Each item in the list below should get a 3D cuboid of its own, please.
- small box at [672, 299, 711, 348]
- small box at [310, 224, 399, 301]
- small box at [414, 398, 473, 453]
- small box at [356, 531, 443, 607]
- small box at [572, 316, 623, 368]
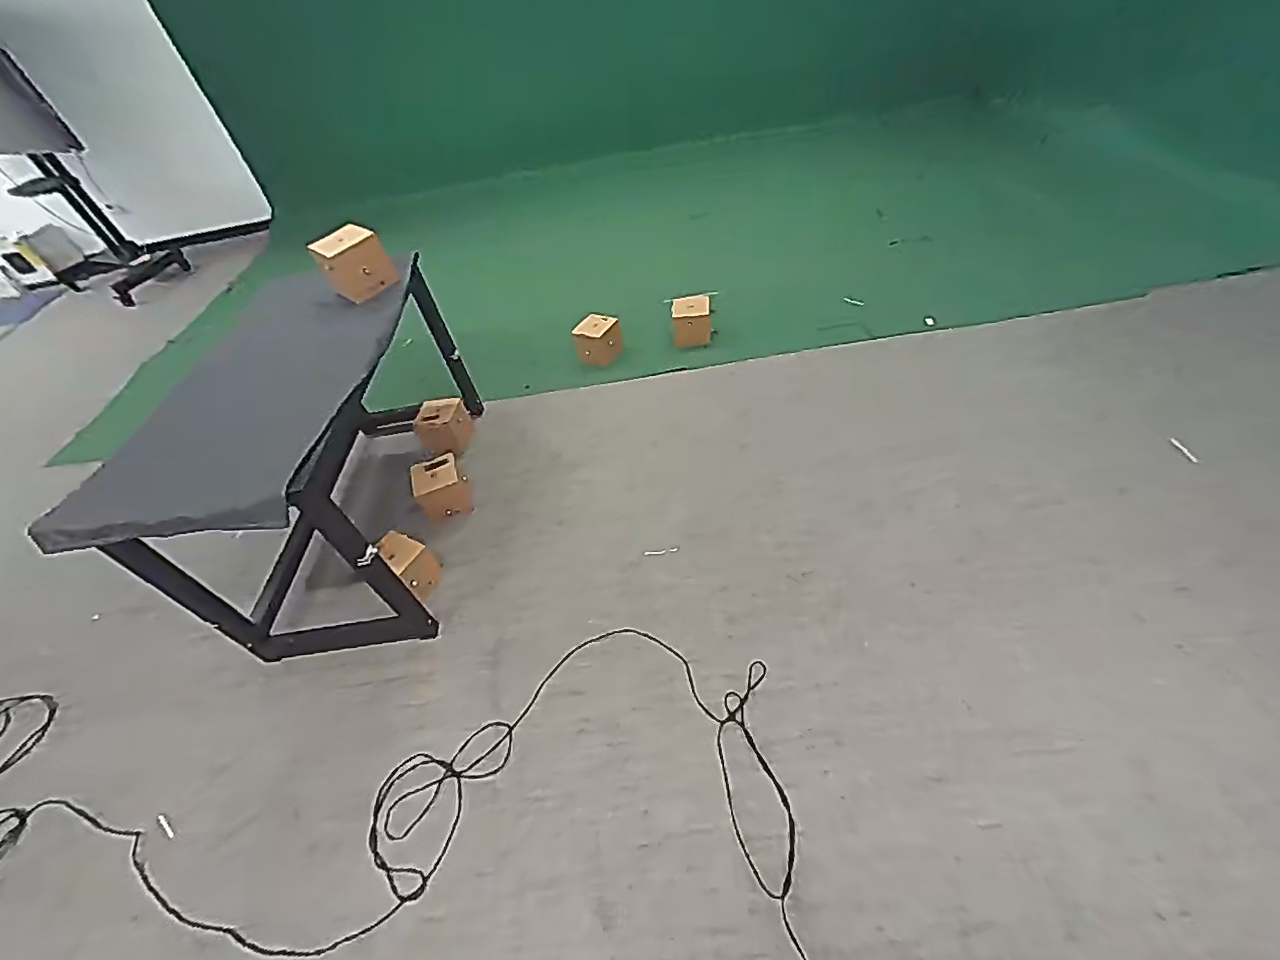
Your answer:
[{"bbox_3d":[0.252,-0.754,2.612,0.179,0.176,0.168,-1,48,9],"label":"small box"},{"bbox_3d":[-0.940,-0.719,1.796,0.179,0.176,0.168,30,62,33],"label":"small box"},{"bbox_3d":[-0.839,-0.229,2.331,0.168,0.176,0.179,-4,46,7],"label":"small box"},{"bbox_3d":[-0.803,0.305,1.825,0.179,0.176,0.168,17,53,26],"label":"small box"},{"bbox_3d":[-0.200,-0.669,2.622,0.168,0.176,0.179,18,54,27],"label":"small box"}]
